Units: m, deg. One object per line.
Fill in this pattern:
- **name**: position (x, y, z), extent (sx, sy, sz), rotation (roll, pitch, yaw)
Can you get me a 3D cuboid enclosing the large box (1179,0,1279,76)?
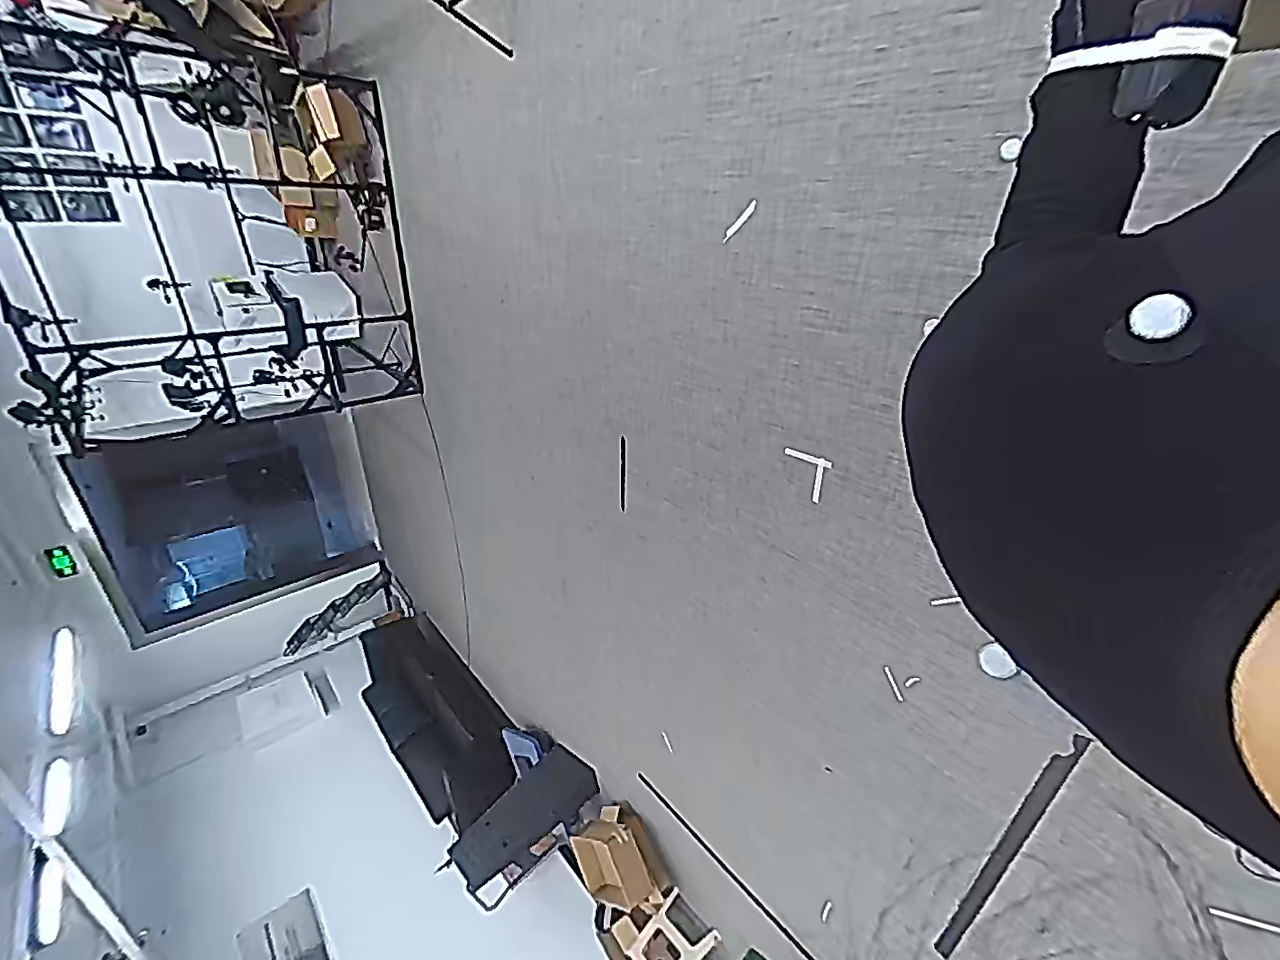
- **large box**: position (0.560, -0.418, 0.231), extent (0.408, 0.320, 0.320), rotation (22, 125, 39)
